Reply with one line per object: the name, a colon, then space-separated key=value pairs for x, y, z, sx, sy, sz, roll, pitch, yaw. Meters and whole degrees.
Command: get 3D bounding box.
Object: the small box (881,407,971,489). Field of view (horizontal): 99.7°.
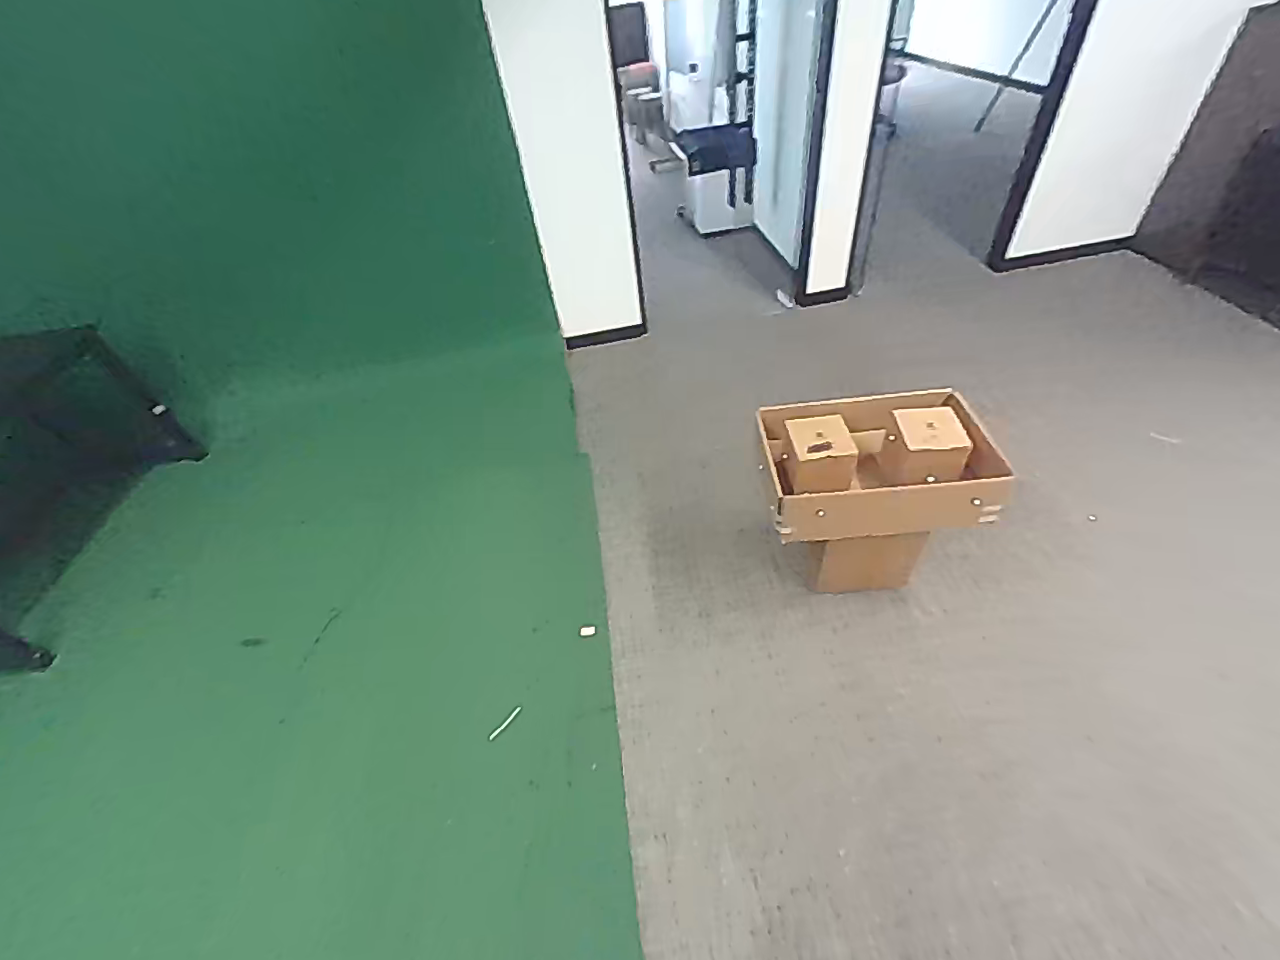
small box: x=0.818 y=-0.091 z=1.568 sx=0.168 sy=0.176 sz=0.179 roll=-2 pitch=46 yaw=7
